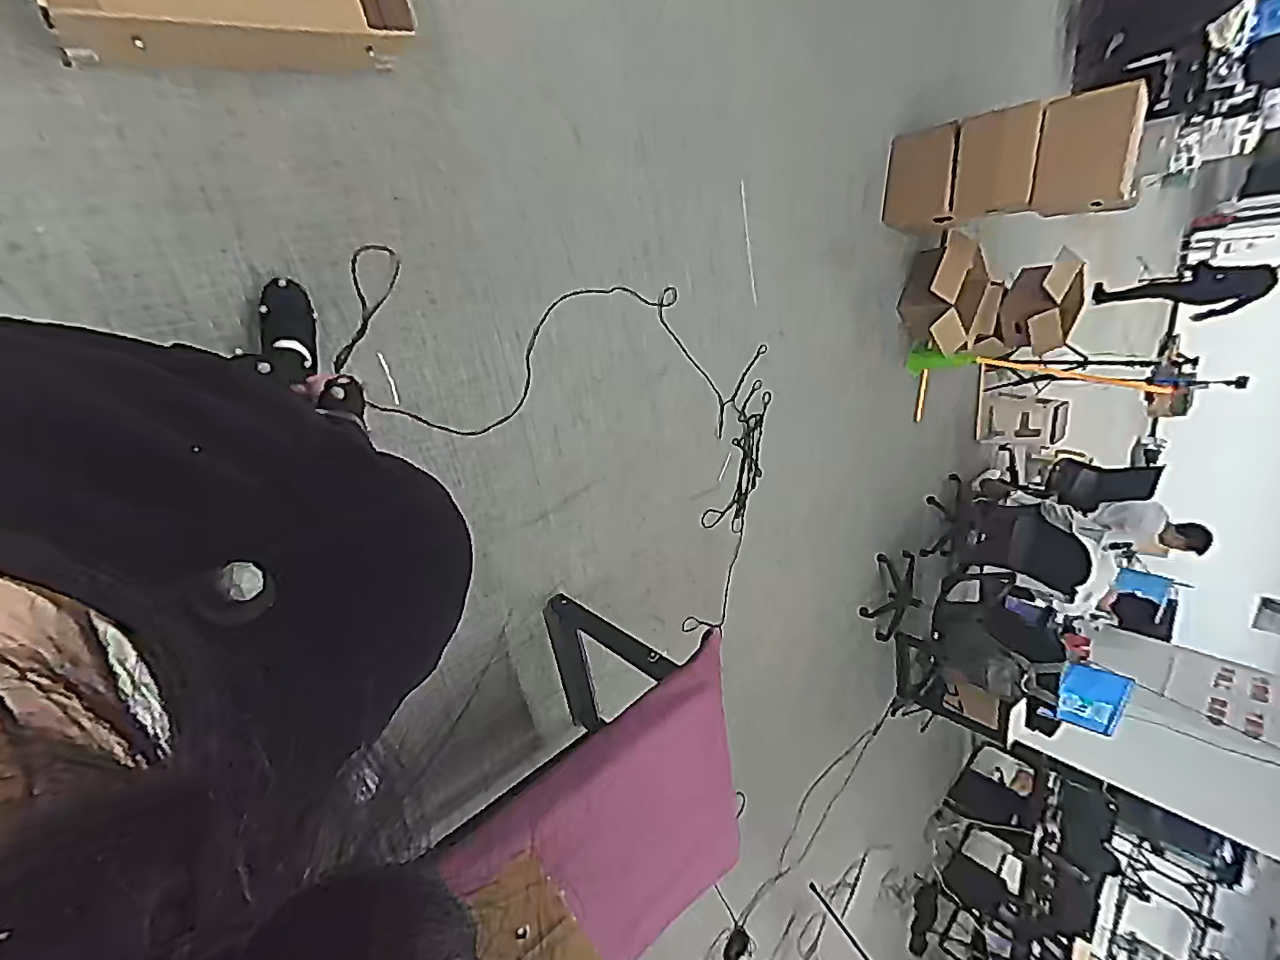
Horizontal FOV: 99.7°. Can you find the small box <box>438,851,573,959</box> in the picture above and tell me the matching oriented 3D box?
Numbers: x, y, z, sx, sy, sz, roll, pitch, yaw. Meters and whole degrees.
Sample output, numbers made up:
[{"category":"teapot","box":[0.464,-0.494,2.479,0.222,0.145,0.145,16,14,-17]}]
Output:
[{"category":"small box","box":[-0.232,0.826,0.970,0.179,0.176,0.168,-24,116,-35]}]

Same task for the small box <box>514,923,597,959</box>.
[{"category":"small box","box":[-0.130,0.853,0.843,0.168,0.176,0.179,-21,114,-36]}]
